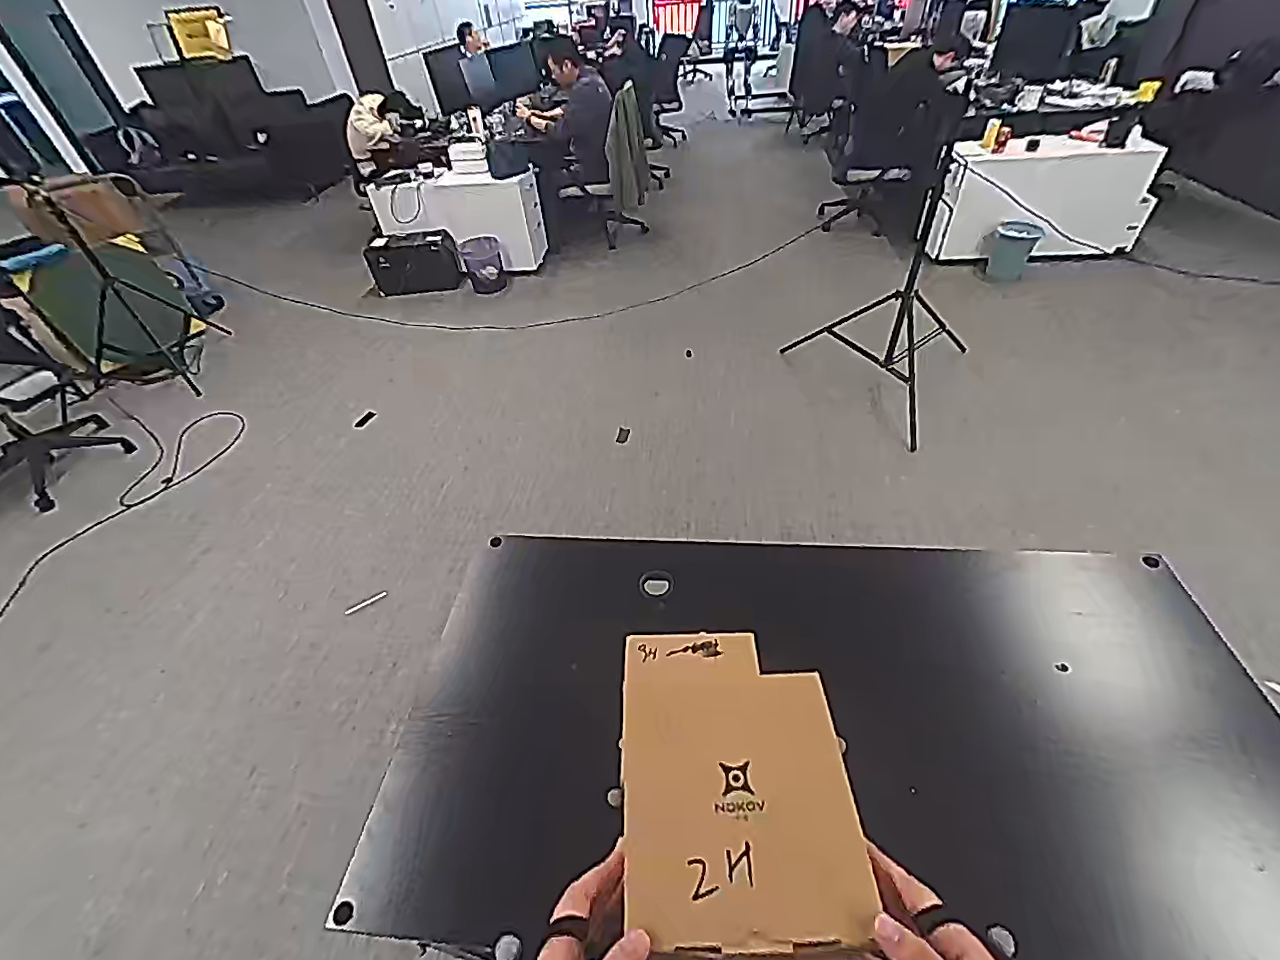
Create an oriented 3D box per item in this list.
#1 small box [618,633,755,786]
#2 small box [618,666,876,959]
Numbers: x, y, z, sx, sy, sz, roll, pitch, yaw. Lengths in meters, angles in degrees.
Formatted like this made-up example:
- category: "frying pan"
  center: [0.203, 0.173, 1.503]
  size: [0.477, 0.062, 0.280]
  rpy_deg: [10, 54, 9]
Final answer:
- category: "small box"
  center: [0.067, 0.318, 0.693]
  size: [0.168, 0.176, 0.179]
  rpy_deg: [-3, 43, 4]
- category: "small box"
  center: [0.070, 0.280, 0.455]
  size: [0.168, 0.176, 0.179]
  rpy_deg: [-3, 44, 2]
